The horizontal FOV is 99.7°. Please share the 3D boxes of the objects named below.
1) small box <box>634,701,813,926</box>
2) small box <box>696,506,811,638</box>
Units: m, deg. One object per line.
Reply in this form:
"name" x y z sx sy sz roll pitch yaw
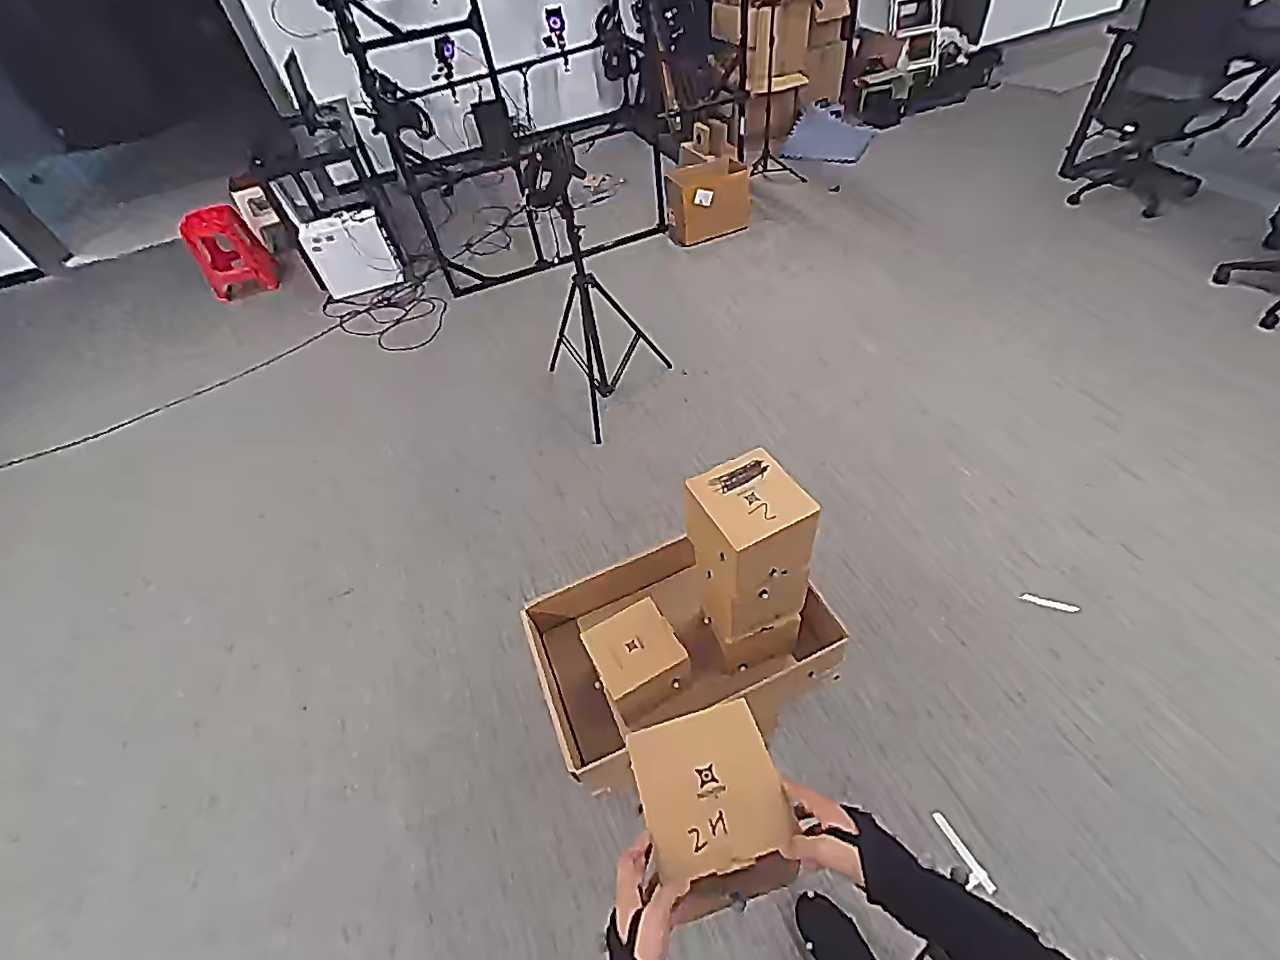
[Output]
"small box" 0.097 0.423 0.690 0.168 0.176 0.179 -15 41 -7
"small box" 0.223 0.188 1.101 0.168 0.176 0.179 -20 48 -8
